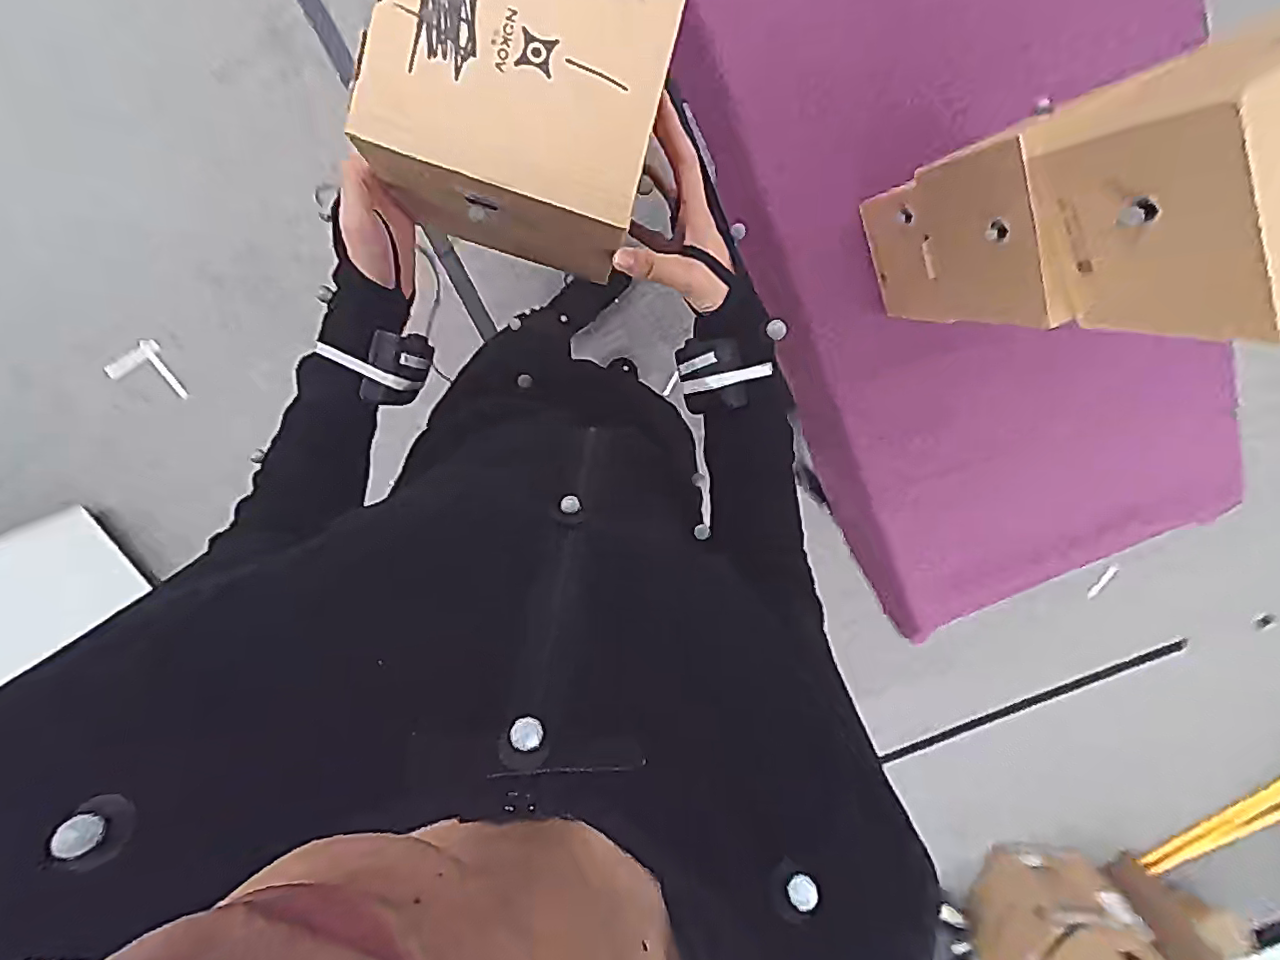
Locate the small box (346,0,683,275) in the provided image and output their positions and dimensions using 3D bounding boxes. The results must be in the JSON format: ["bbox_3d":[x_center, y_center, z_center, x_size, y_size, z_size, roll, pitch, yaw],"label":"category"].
[{"bbox_3d":[-0.084,-0.271,0.404,0.179,0.176,0.168,13,96,-11],"label":"small box"}]

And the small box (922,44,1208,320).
[{"bbox_3d":[0.418,-0.278,0.548,0.168,0.176,0.179,-23,110,5],"label":"small box"}]

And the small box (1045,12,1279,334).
[{"bbox_3d":[0.444,-0.226,0.395,0.179,0.176,0.168,-31,108,7],"label":"small box"}]
